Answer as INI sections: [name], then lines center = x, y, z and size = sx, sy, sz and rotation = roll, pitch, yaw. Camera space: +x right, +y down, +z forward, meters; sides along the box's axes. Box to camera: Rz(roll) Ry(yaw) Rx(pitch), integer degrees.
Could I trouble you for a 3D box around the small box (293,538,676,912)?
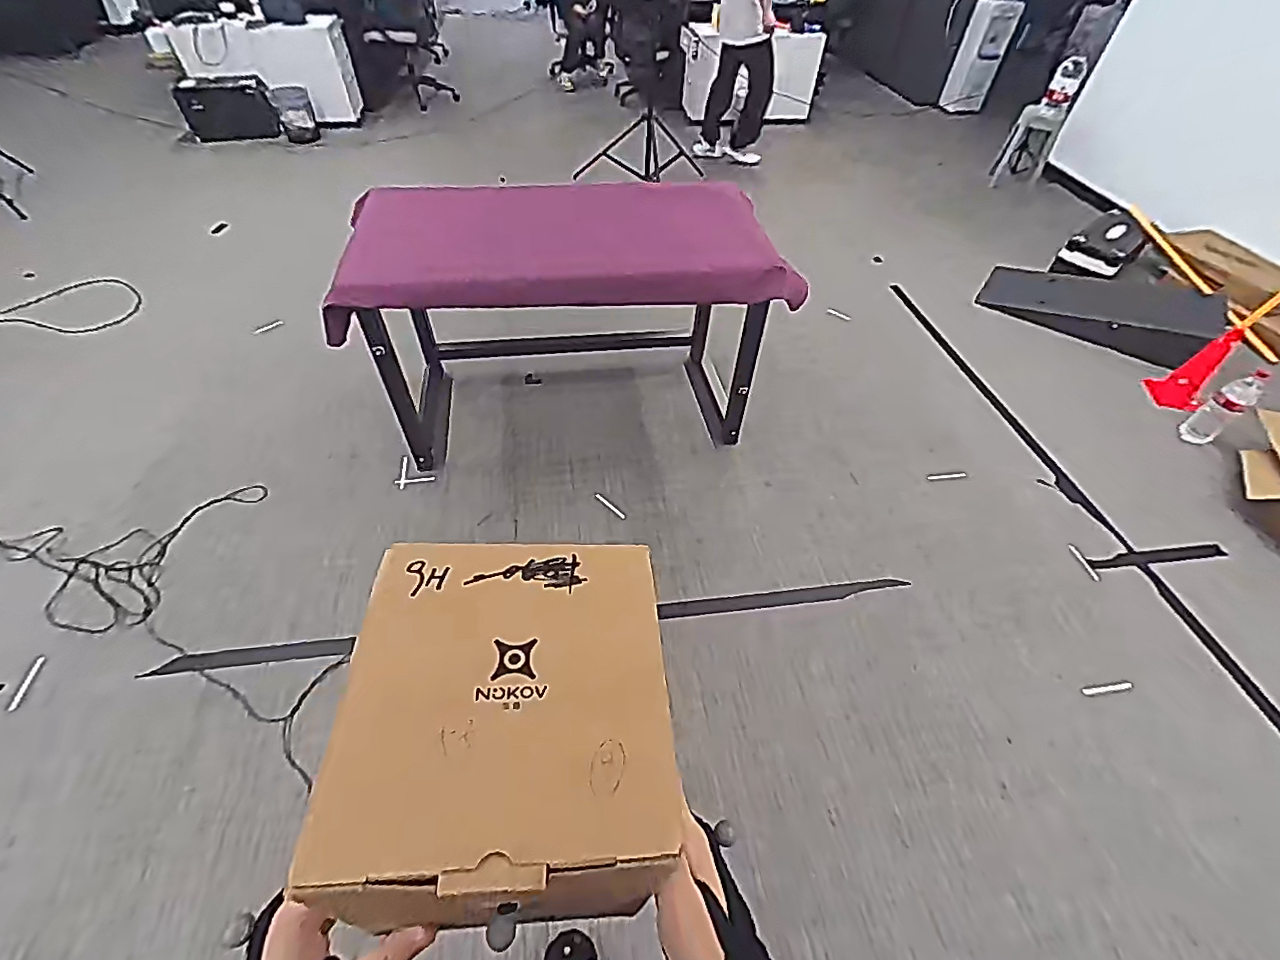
[small box]
center = -0.078, 0.157, 0.345
size = 0.168, 0.176, 0.179
rotation = 2, 46, -9
